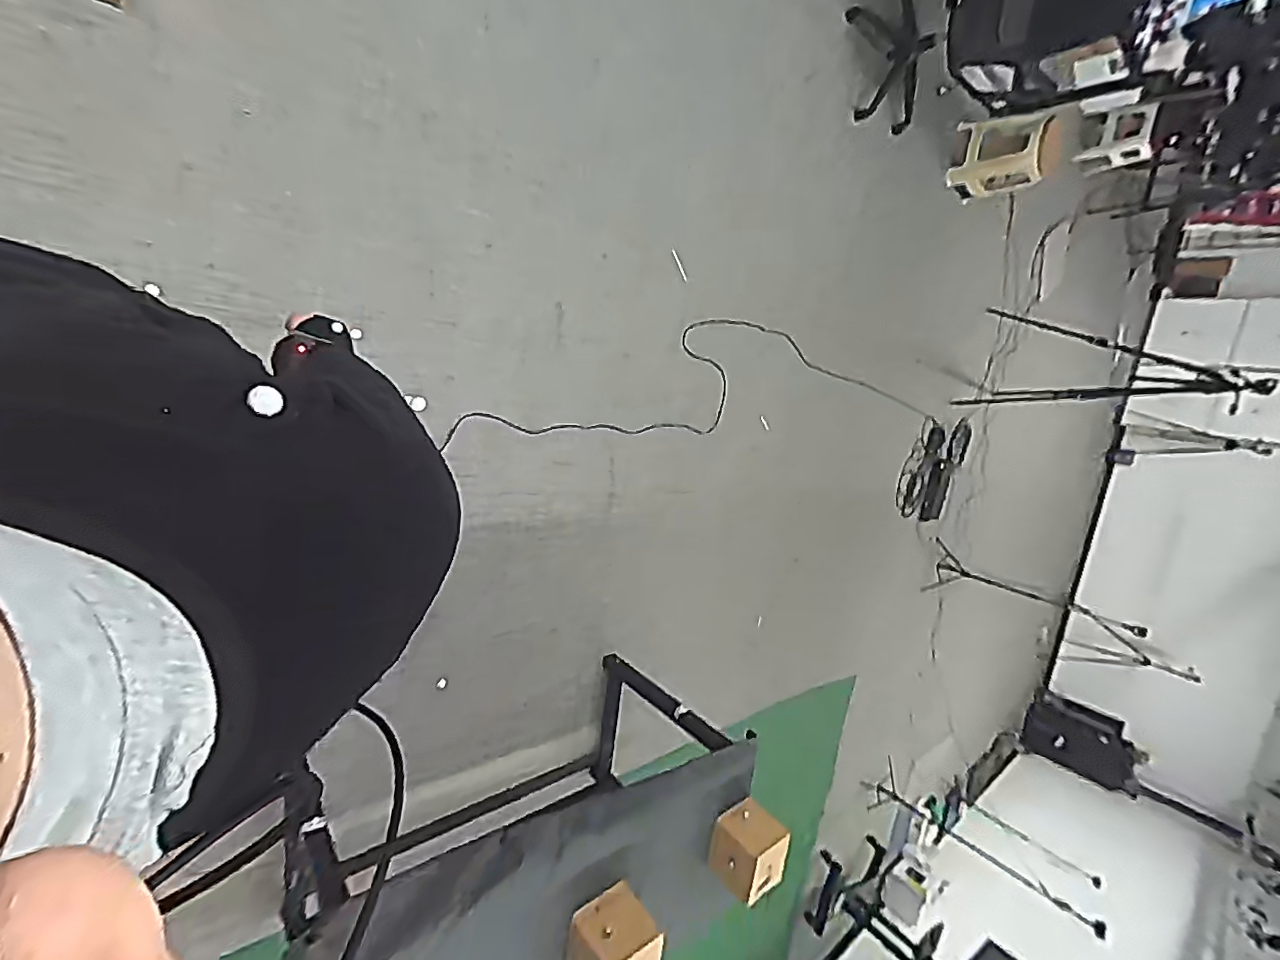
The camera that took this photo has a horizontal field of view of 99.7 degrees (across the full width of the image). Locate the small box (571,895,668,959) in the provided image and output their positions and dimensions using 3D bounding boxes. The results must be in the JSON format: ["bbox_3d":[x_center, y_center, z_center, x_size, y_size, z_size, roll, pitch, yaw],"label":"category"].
[{"bbox_3d":[-0.055,1.169,1.322,0.168,0.176,0.179,-4,106,-40],"label":"small box"}]

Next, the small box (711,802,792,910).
[{"bbox_3d":[0.337,1.144,1.659,0.168,0.176,0.179,-3,104,-41],"label":"small box"}]
